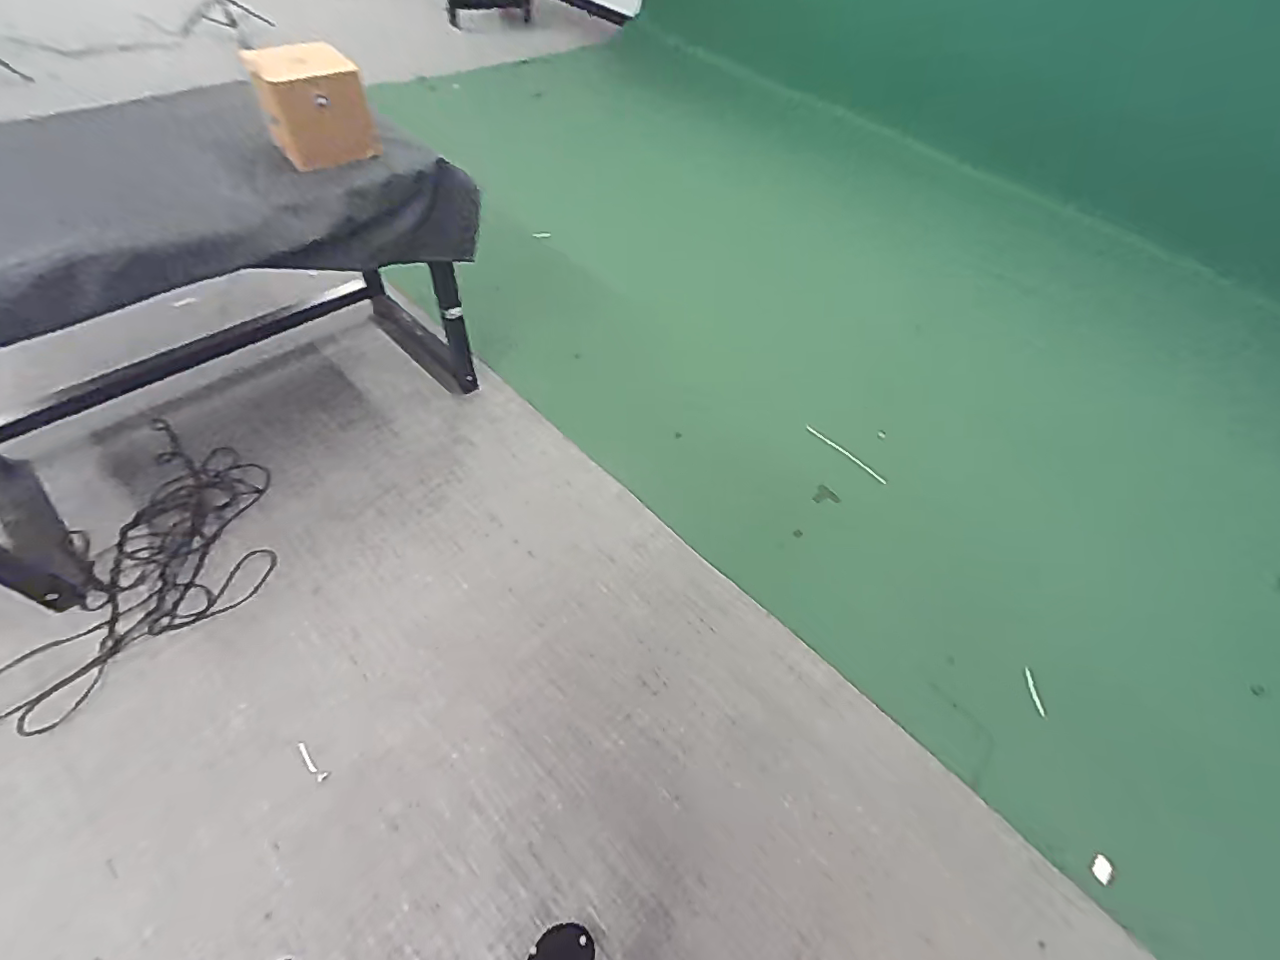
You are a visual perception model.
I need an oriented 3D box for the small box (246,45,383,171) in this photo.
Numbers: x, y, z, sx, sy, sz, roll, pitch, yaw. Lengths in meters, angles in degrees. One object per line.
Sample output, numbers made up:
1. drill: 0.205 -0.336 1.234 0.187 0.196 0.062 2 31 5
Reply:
1. small box: -0.682 -0.787 1.150 0.179 0.176 0.168 -32 64 -26
